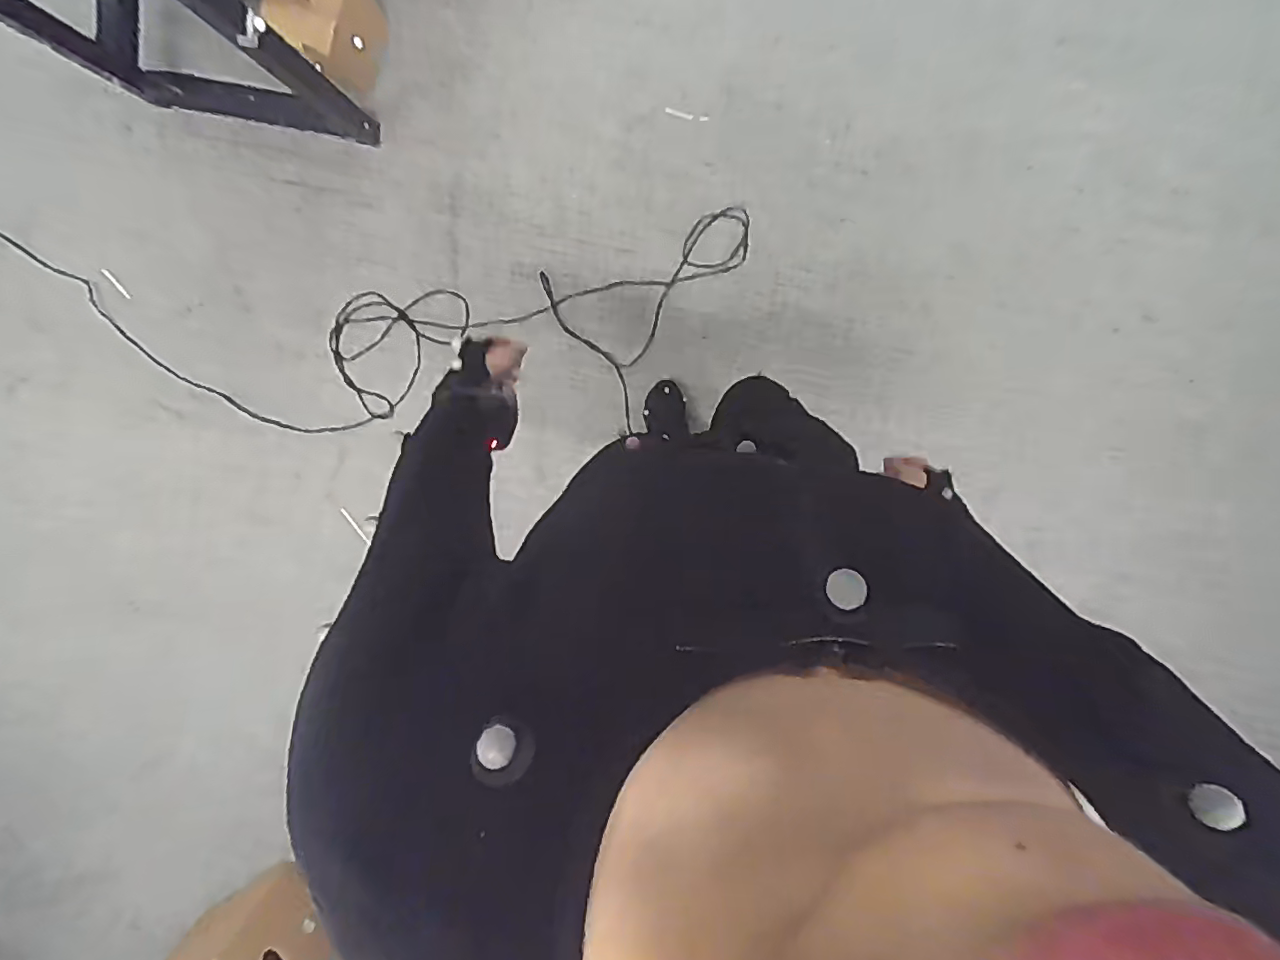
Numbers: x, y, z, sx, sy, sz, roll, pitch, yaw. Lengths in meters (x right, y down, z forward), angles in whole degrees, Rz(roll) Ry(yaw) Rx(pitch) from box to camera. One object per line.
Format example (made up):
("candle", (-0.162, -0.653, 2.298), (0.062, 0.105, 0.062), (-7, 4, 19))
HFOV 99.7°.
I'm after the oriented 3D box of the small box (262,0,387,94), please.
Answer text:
("small box", (-0.708, -1.033, 1.233), (0.168, 0.176, 0.179), (23, 101, -3))
